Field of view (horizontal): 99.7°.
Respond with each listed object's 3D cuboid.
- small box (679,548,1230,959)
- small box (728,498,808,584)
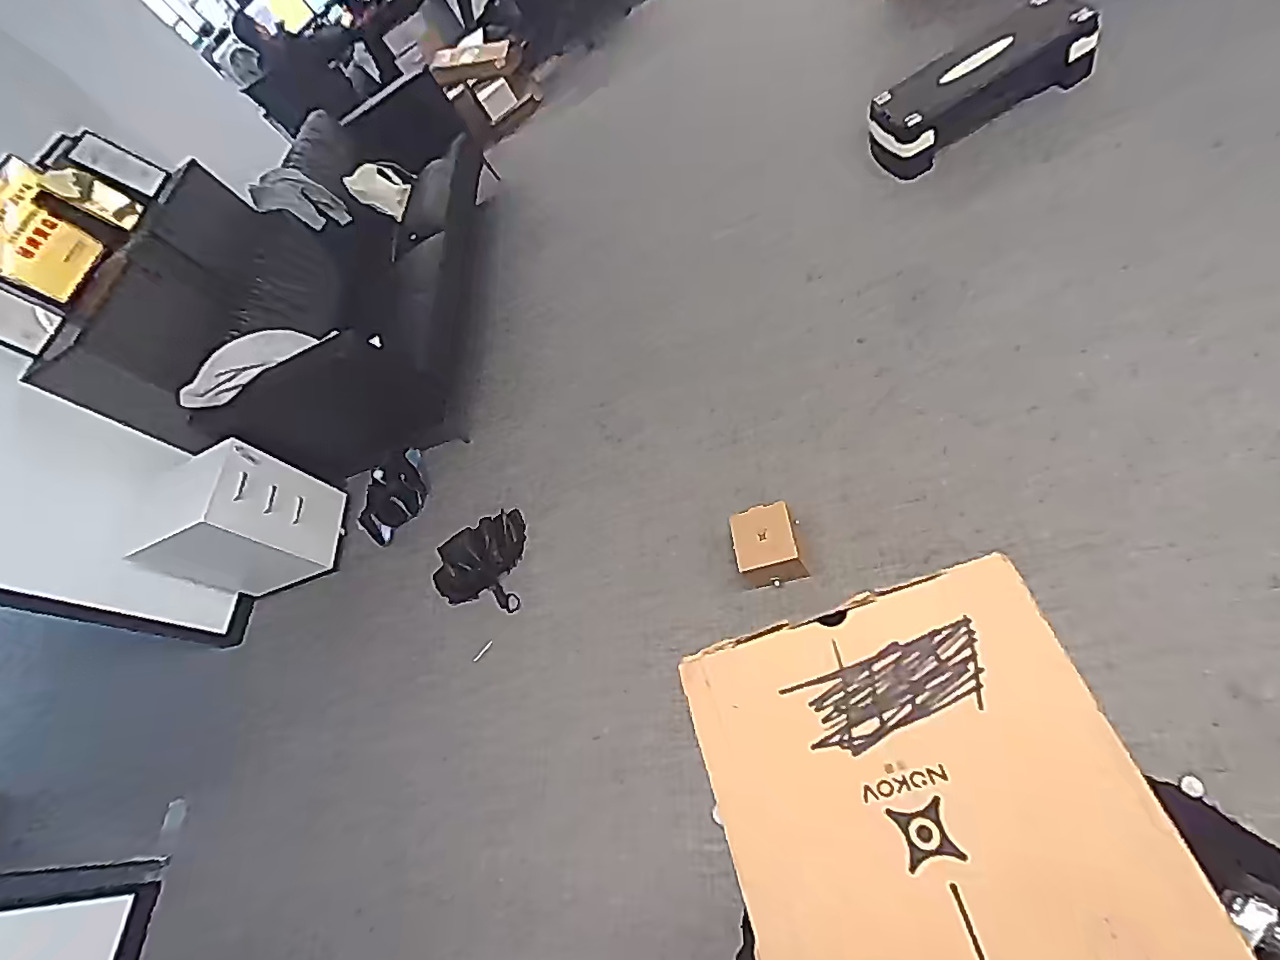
[{"bbox_3d":[0.138,0.163,0.304,0.168,0.176,0.179,-22,63,11],"label":"small box"},{"bbox_3d":[0.368,0.180,1.555,0.168,0.176,0.179,-19,57,21],"label":"small box"}]
